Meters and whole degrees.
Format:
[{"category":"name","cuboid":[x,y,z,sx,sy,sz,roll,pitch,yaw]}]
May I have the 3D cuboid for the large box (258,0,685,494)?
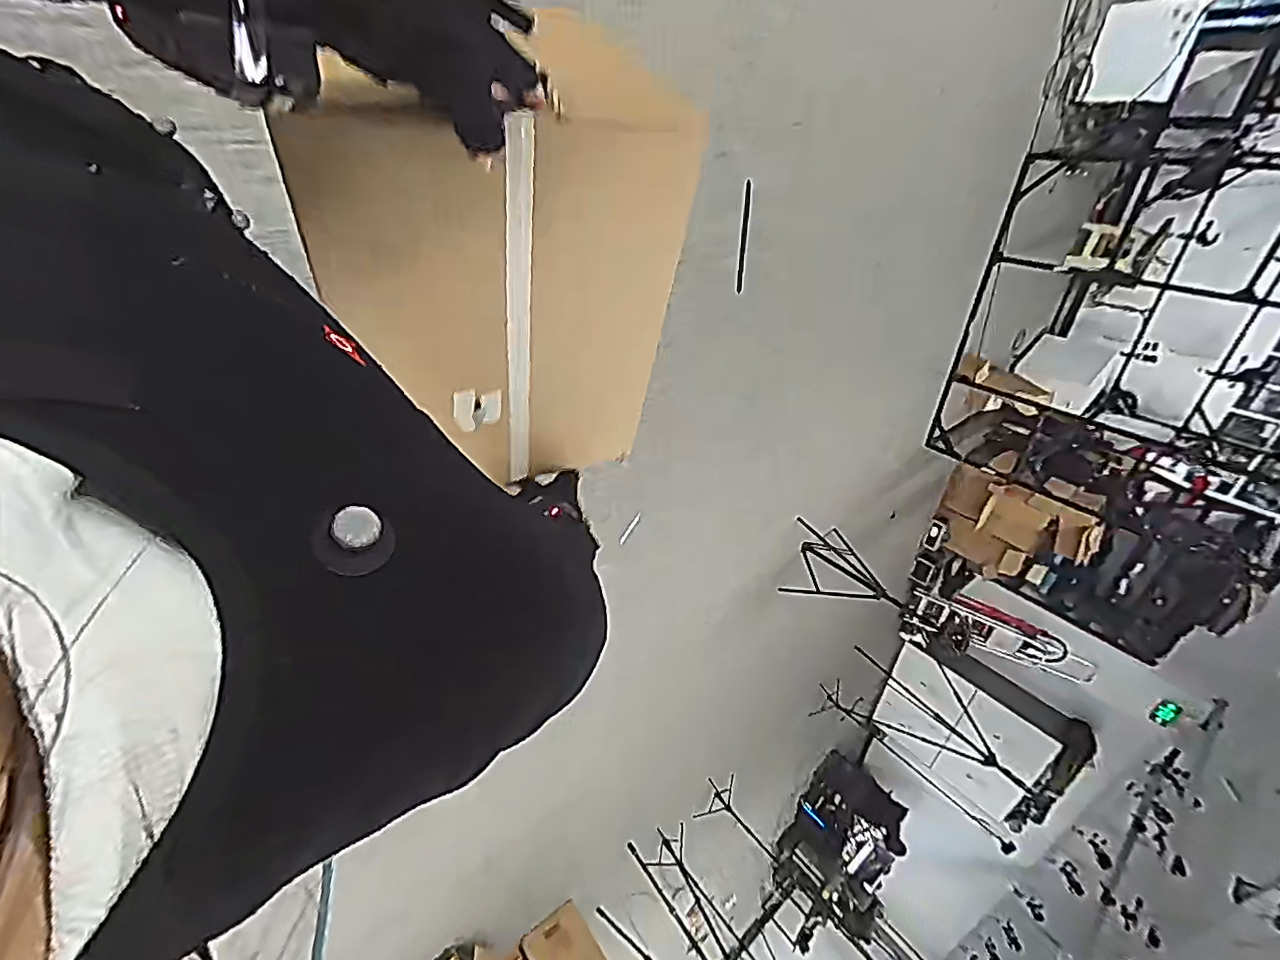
[{"category":"large box","cuboid":[-0.189,-0.249,0.619,0.320,0.320,0.408,-11,145,-22]}]
